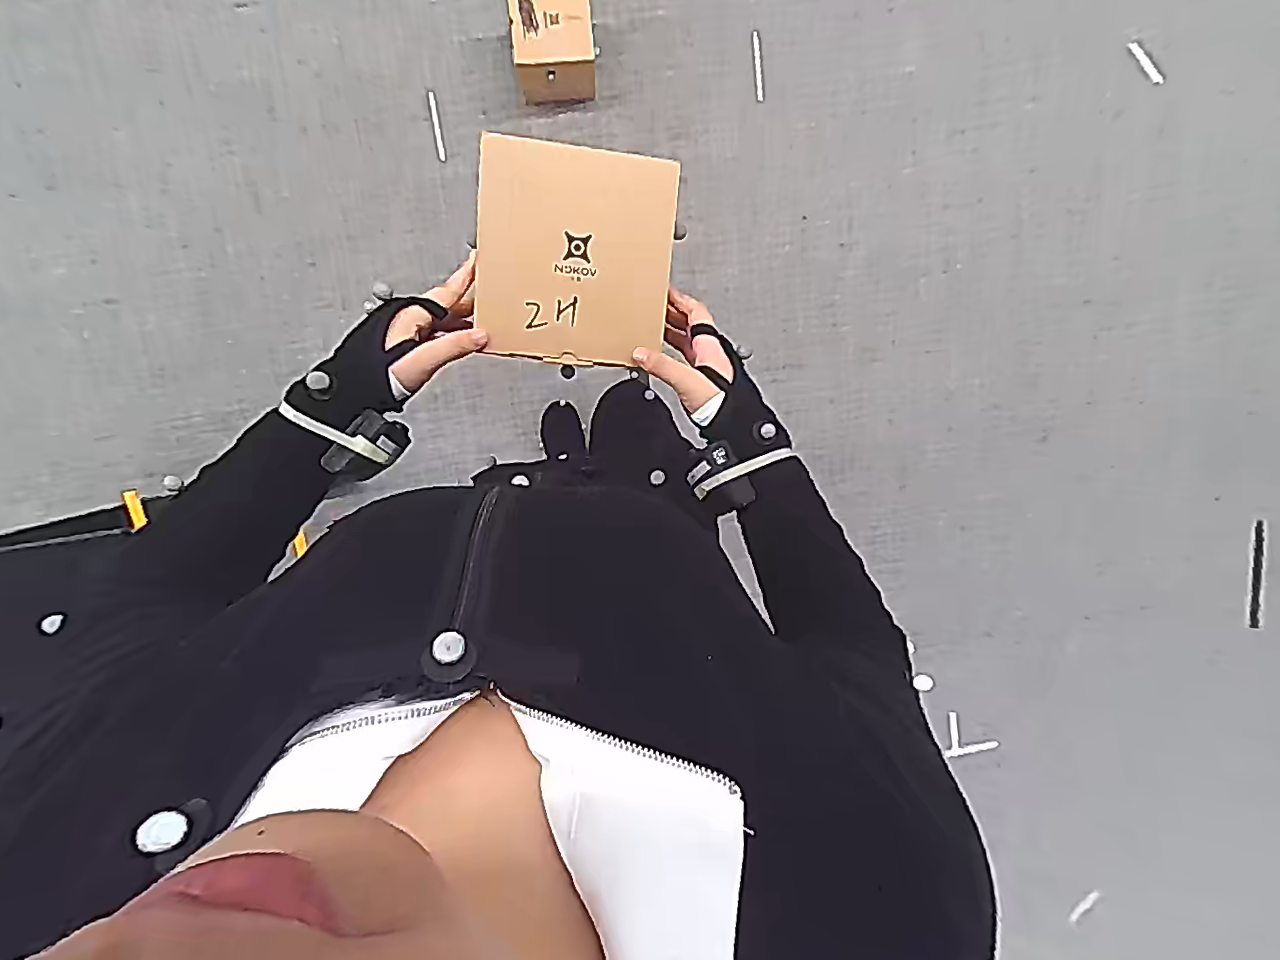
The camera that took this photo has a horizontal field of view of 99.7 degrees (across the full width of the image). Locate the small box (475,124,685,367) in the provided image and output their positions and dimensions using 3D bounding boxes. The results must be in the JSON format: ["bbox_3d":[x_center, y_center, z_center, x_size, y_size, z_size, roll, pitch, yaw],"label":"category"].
[{"bbox_3d":[-0.061,-0.209,0.535,0.168,0.176,0.179,5,101,-7],"label":"small box"}]

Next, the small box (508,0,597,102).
[{"bbox_3d":[-0.192,-0.985,1.220,0.179,0.176,0.168,-6,101,-4],"label":"small box"}]
